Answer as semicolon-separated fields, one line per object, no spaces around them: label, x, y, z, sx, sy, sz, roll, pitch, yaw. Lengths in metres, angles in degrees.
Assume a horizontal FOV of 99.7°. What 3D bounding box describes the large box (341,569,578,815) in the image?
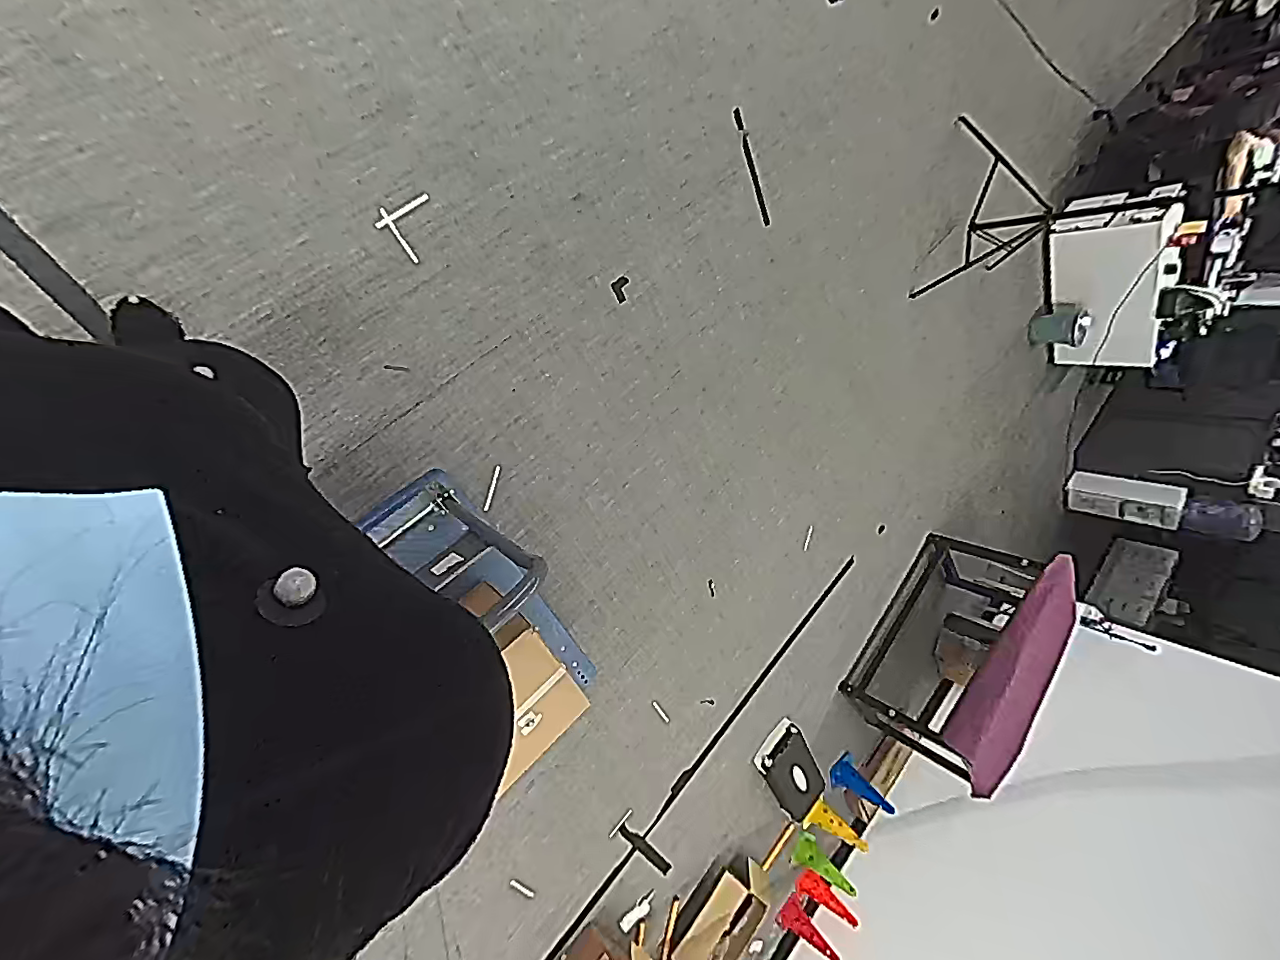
large box;-0.441;0.498;1.339;0.408;0.320;0.320;-41;124;-23
